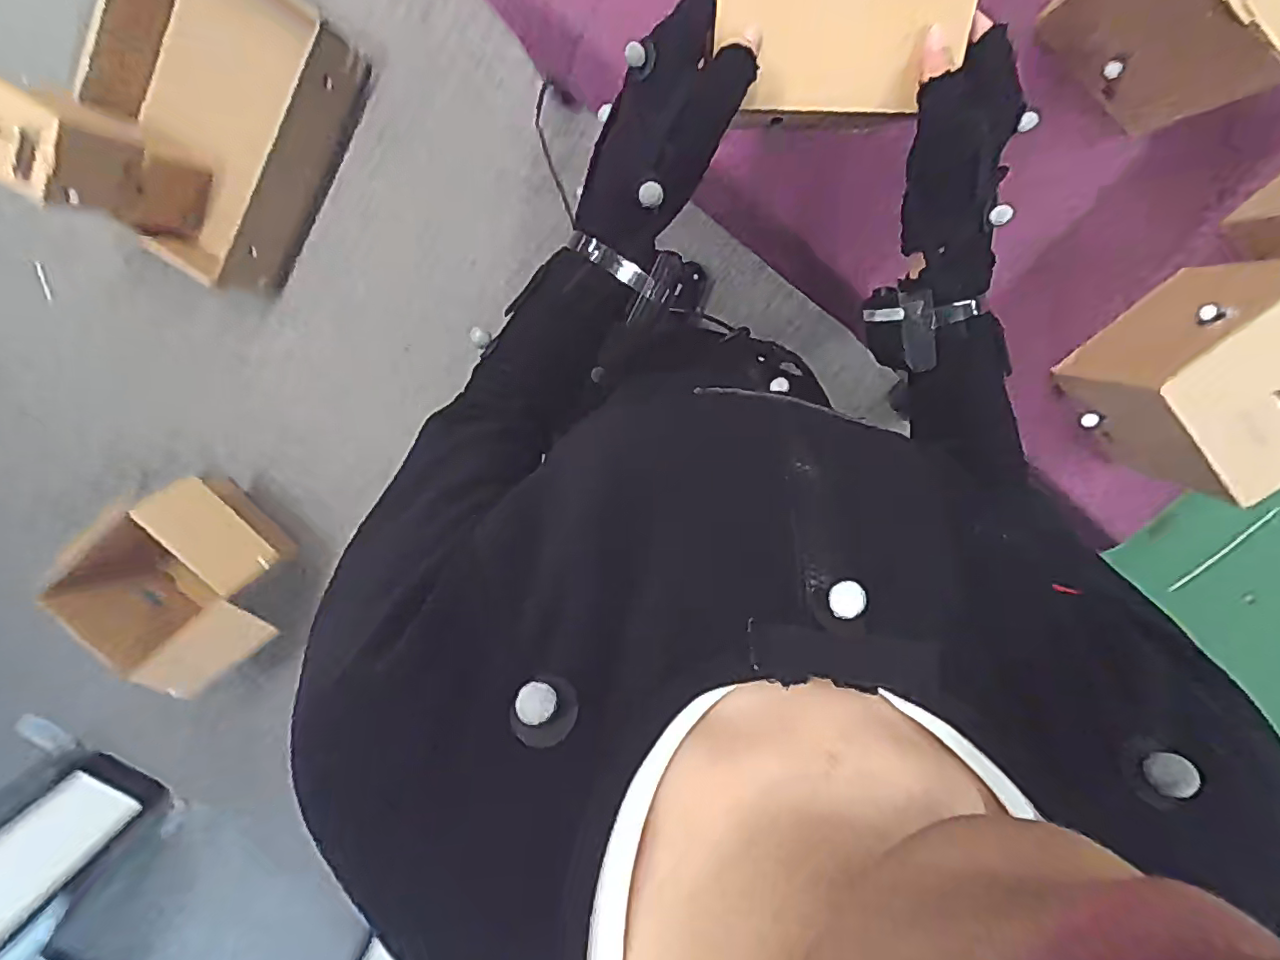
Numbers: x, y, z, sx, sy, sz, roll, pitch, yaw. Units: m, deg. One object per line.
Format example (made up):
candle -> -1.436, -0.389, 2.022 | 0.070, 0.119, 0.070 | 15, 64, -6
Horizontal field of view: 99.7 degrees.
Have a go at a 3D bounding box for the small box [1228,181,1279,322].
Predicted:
small box -> 0.761, -0.260, 0.520 | 0.179, 0.176, 0.168 | -43, 100, 15

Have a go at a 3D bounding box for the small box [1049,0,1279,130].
small box -> 0.522, -0.456, 0.469 | 0.168, 0.176, 0.179 | 40, 107, -9
